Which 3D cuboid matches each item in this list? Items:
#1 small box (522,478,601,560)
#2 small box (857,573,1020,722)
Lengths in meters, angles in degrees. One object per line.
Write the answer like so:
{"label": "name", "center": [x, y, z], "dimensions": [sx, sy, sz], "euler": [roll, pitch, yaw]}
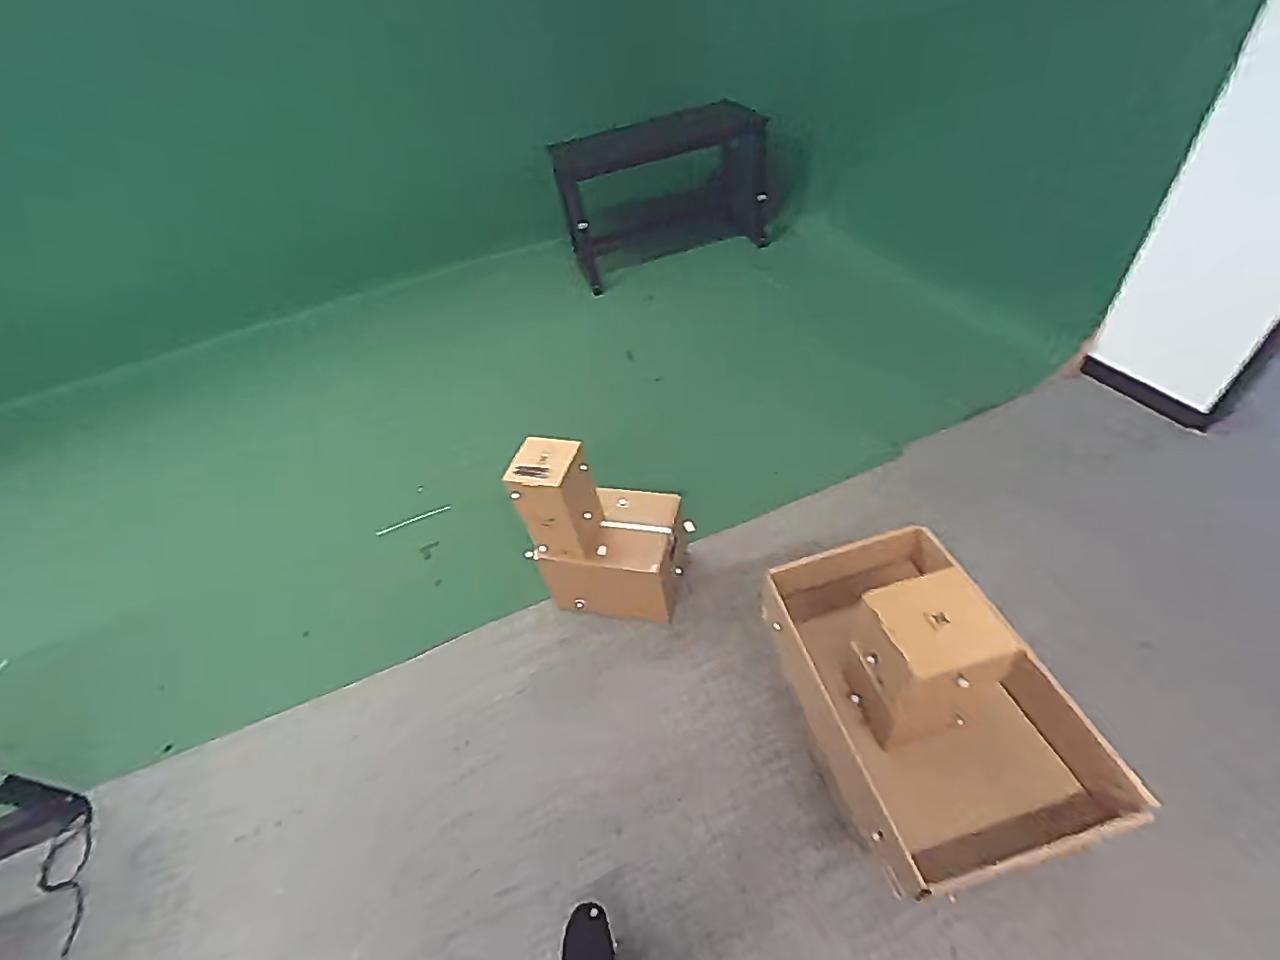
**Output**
{"label": "small box", "center": [-0.228, 0.120, 1.637], "dimensions": [0.168, 0.176, 0.179], "euler": [8, 48, 17]}
{"label": "small box", "center": [0.506, 0.295, 0.949], "dimensions": [0.179, 0.176, 0.168], "euler": [-16, 44, -3]}
